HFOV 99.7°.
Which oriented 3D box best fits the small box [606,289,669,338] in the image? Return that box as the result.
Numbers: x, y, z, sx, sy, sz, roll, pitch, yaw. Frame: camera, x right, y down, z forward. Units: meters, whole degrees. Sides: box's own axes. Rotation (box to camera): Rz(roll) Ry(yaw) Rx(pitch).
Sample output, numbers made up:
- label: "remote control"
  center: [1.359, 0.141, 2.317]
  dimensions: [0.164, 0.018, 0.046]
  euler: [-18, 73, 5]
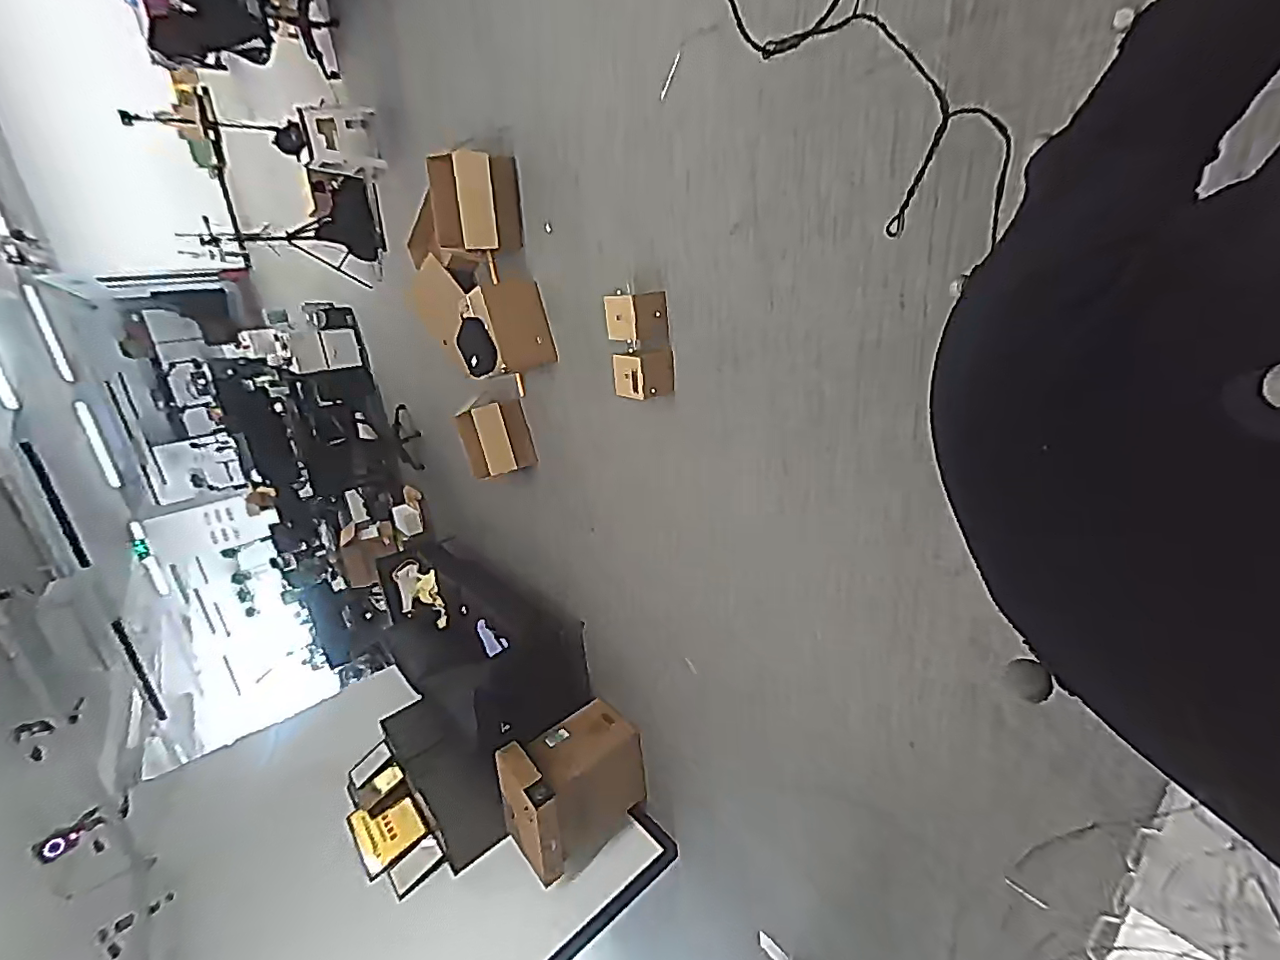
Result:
- label: "small box"
  center: [-0.008, -0.648, 2.099]
  dimensions: [0.179, 0.176, 0.168]
  euler: [18, 121, 47]
